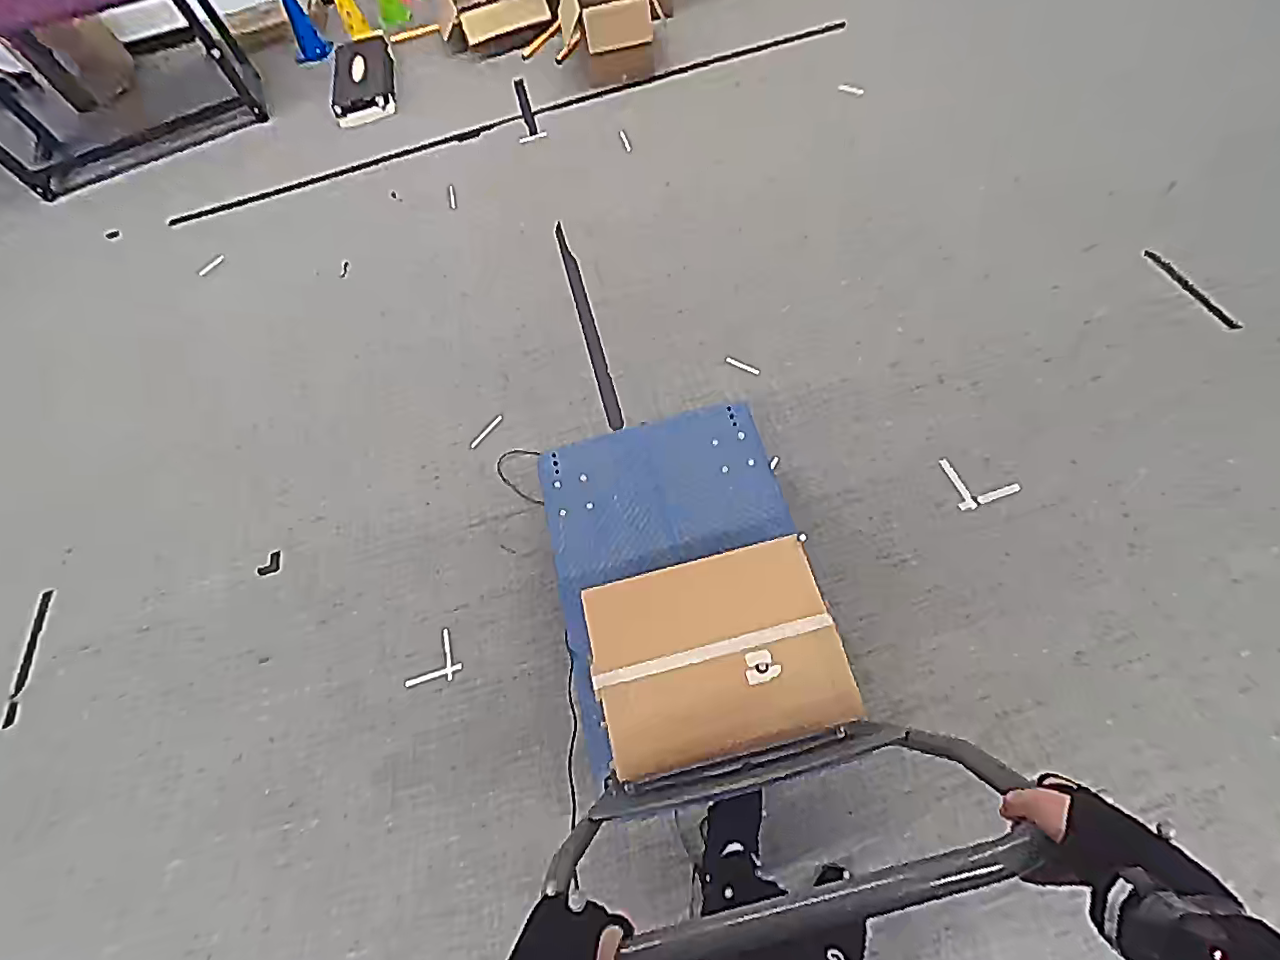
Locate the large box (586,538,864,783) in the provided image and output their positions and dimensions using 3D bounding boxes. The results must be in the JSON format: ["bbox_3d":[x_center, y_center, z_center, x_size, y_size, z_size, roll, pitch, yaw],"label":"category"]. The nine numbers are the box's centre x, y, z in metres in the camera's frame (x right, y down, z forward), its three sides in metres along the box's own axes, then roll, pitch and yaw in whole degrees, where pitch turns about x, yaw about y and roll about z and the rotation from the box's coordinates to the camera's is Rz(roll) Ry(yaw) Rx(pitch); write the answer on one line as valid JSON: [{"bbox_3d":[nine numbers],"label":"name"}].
[{"bbox_3d":[0.142,0.351,1.048,0.408,0.320,0.320,-15,66,-1],"label":"large box"}]
